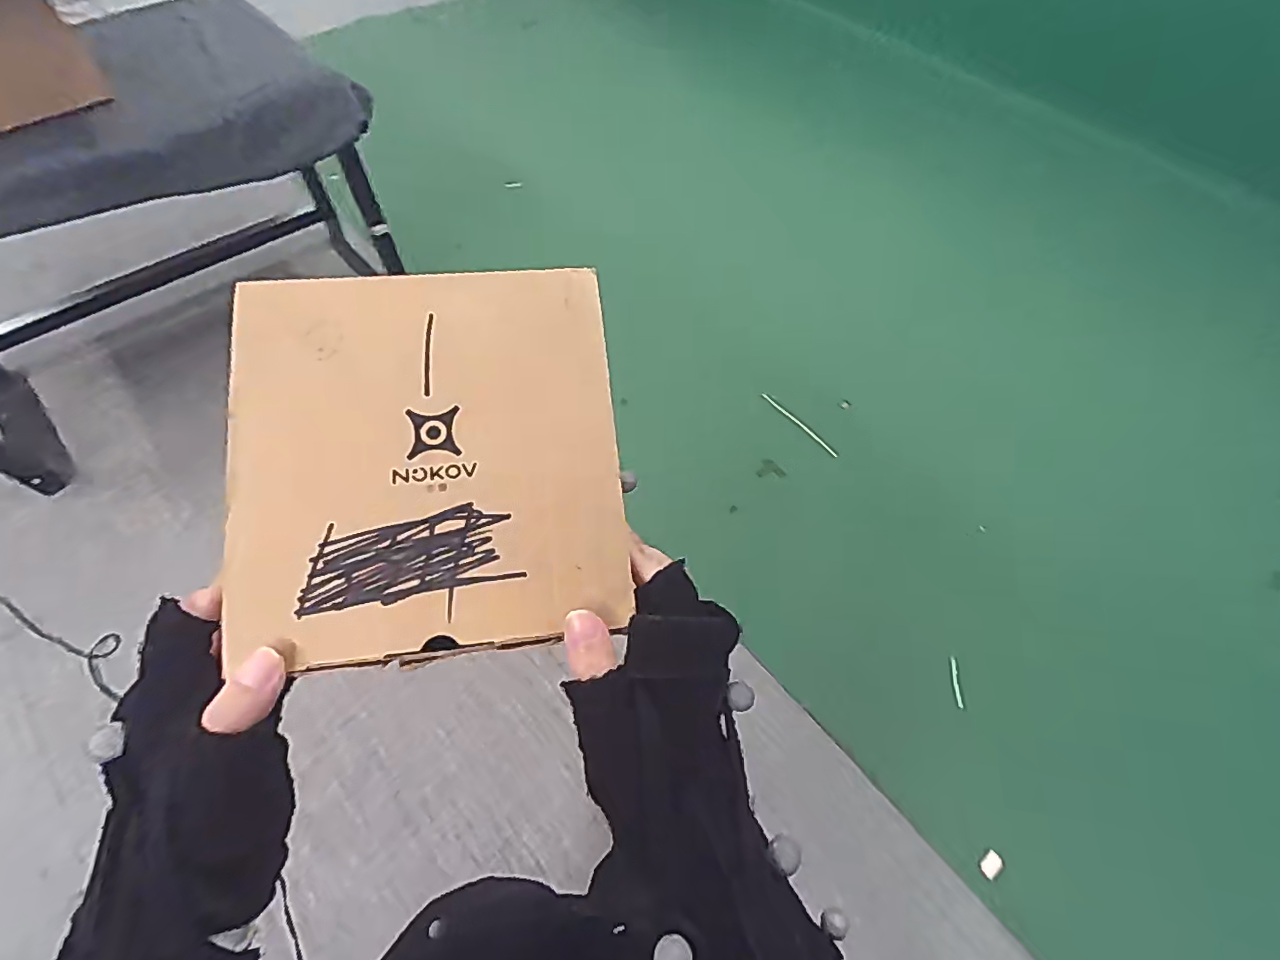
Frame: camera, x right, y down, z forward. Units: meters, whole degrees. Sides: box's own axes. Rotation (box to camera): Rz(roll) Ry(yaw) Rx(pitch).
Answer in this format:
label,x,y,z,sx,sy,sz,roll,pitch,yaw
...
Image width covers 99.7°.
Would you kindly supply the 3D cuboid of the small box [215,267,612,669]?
label,x,y,z,sx,sy,sz,roll,pitch,yaw
small box,-0.108,0.002,0.322,0.168,0.176,0.179,-6,77,-8
